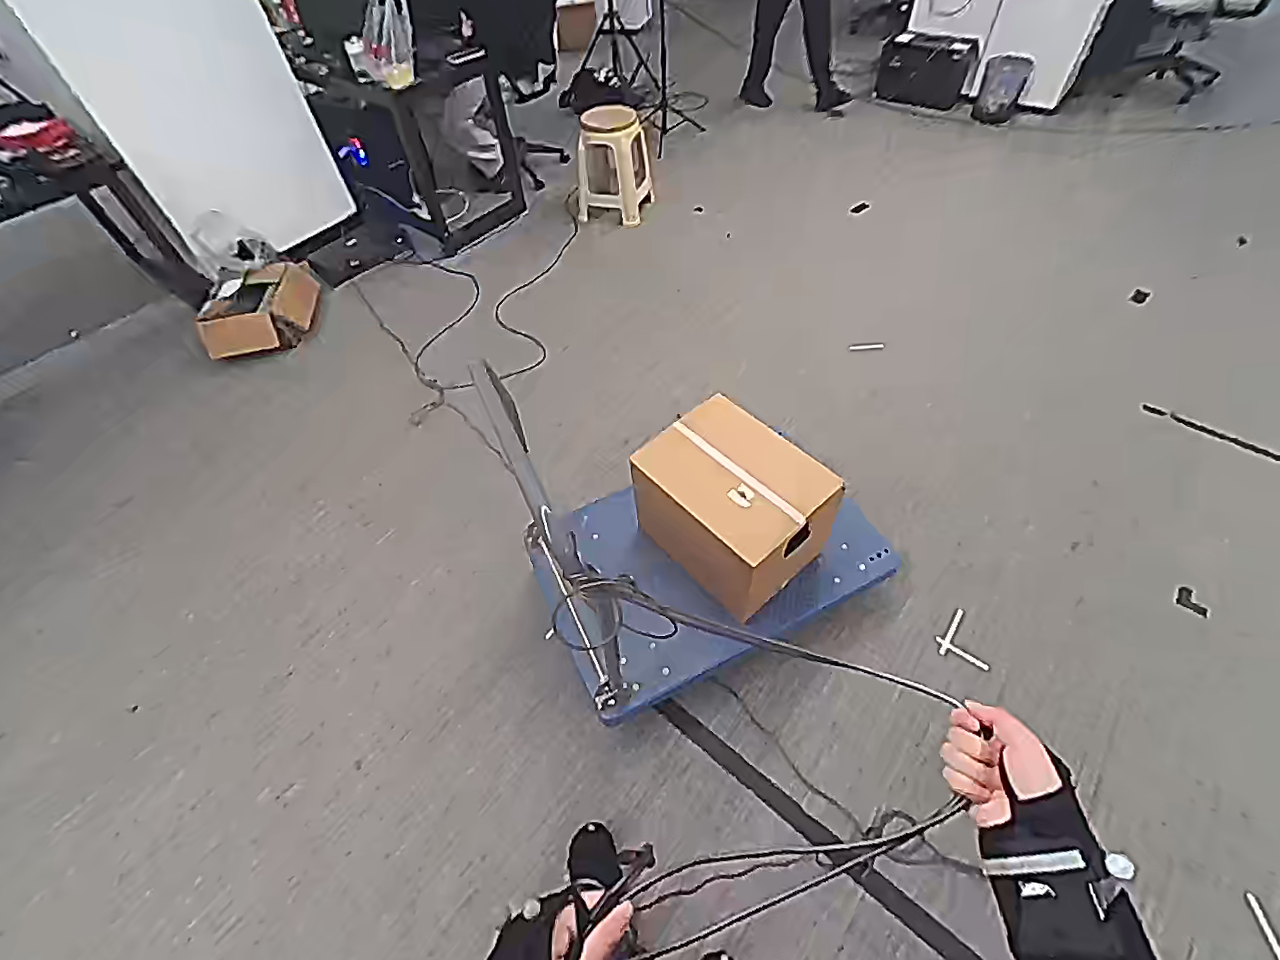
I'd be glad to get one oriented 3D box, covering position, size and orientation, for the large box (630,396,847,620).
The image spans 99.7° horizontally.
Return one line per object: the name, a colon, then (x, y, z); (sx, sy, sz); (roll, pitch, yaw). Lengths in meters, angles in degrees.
large box: (0.224, 0.068, 1.359); (0.320, 0.320, 0.408); (-37, 60, -20)
